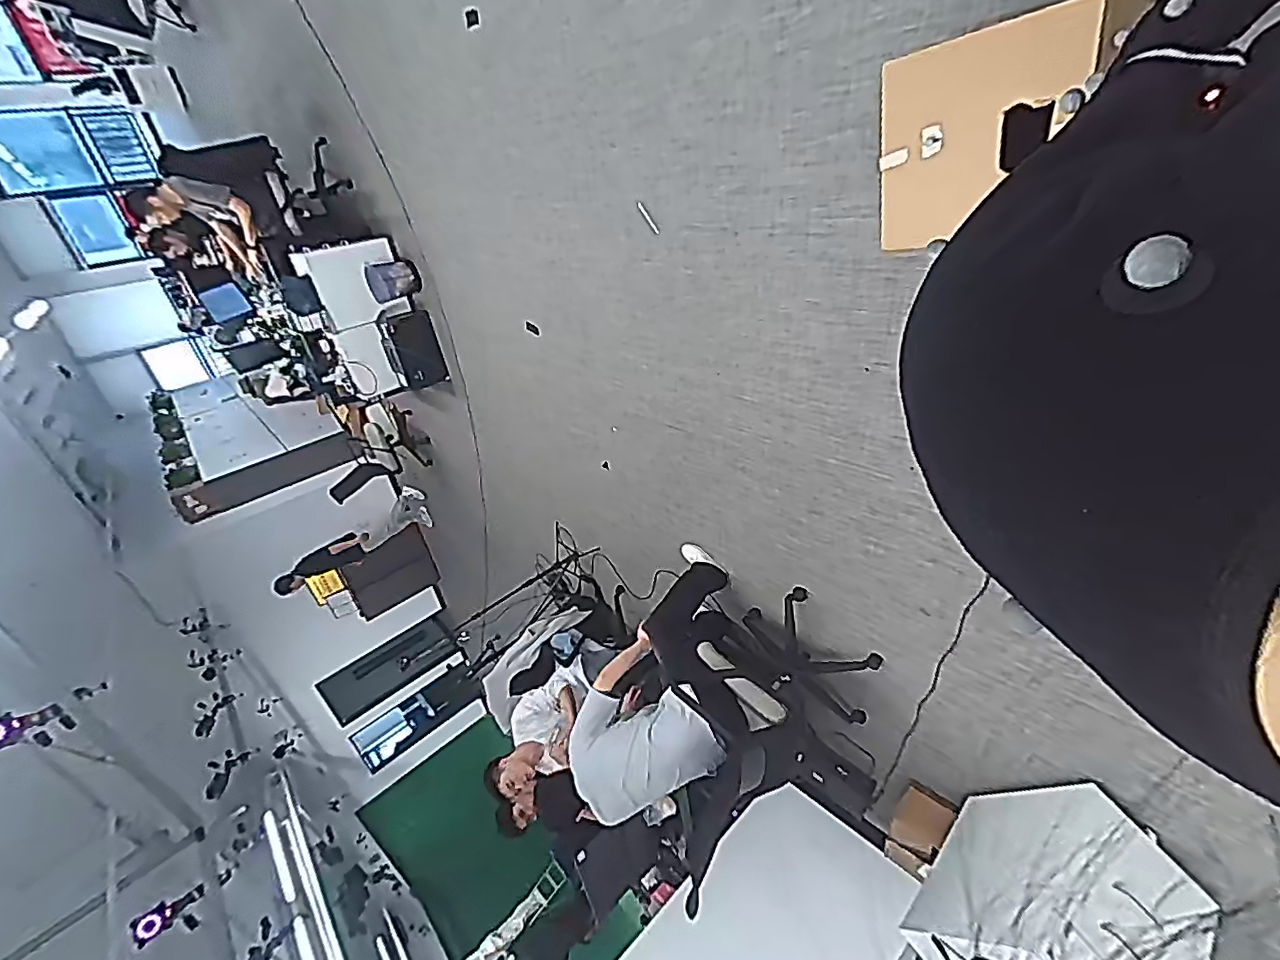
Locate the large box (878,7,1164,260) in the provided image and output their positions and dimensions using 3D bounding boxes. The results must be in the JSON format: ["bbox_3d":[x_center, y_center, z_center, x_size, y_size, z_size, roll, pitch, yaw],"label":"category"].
[{"bbox_3d":[0.690,-0.625,1.006,0.320,0.408,0.320,21,133,46],"label":"large box"}]
